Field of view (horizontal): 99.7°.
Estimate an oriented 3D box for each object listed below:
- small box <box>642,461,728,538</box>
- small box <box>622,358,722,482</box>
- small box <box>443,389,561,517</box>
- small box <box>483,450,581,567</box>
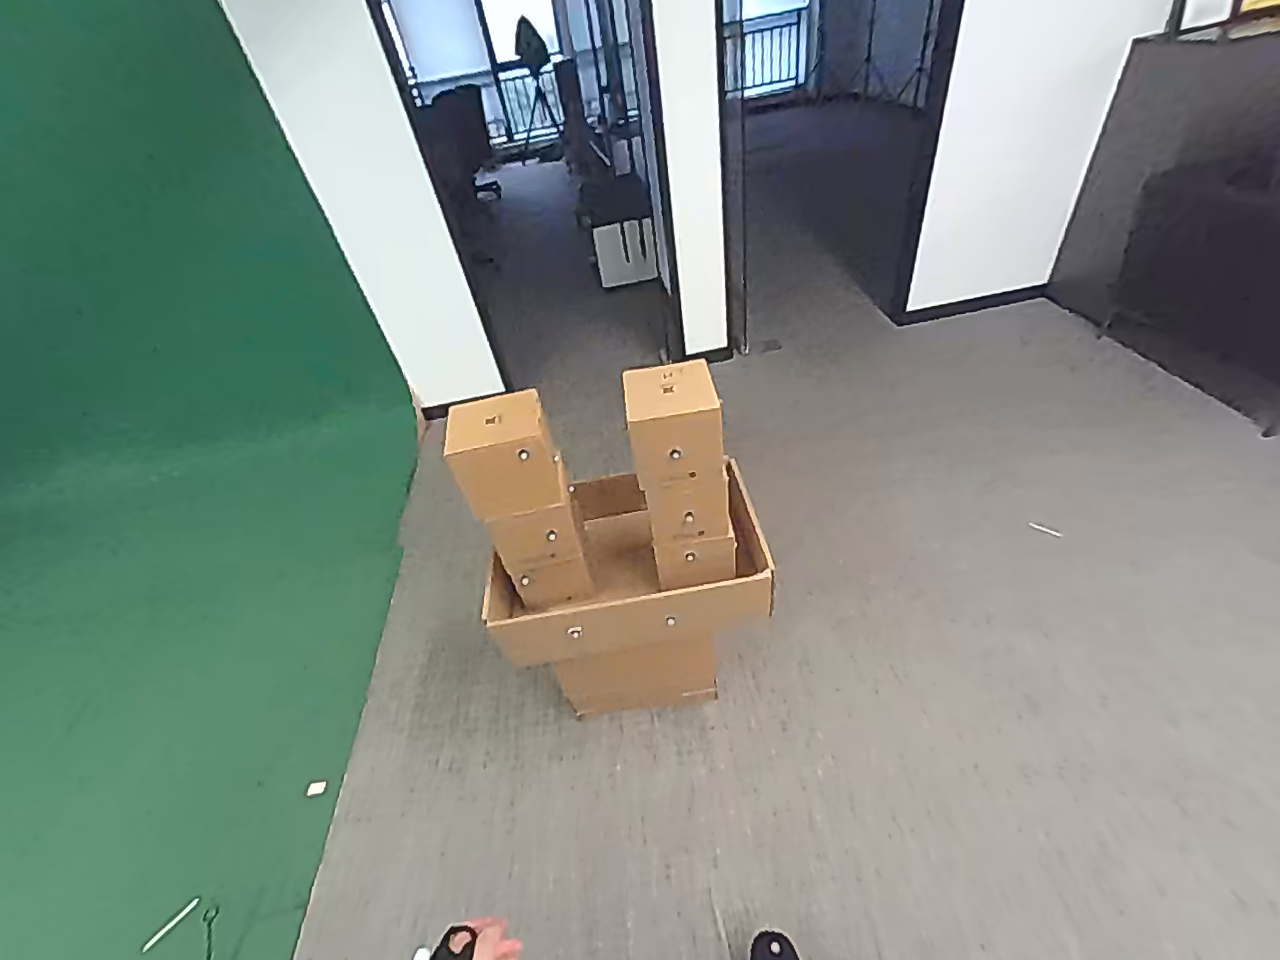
[{"bbox_3d":[0.093,0.009,1.156,0.168,0.176,0.179,-9,42,2],"label":"small box"},{"bbox_3d":[0.062,-0.110,1.045,0.168,0.176,0.179,-8,41,2],"label":"small box"},{"bbox_3d":[-0.264,-0.050,1.054,0.179,0.176,0.168,-13,41,-4],"label":"small box"},{"bbox_3d":[-0.227,0.067,1.162,0.168,0.176,0.179,-13,41,-3],"label":"small box"}]
